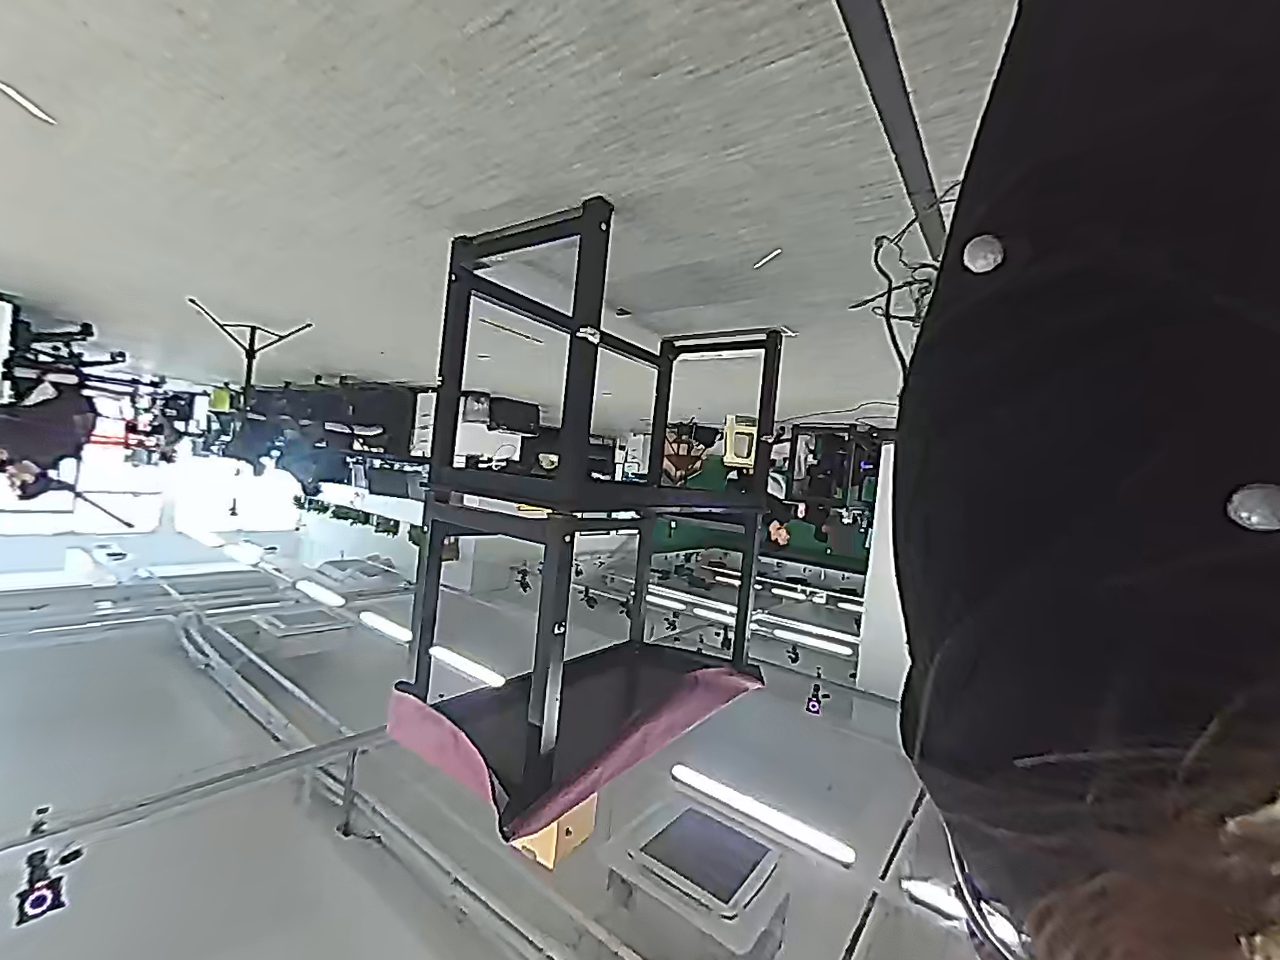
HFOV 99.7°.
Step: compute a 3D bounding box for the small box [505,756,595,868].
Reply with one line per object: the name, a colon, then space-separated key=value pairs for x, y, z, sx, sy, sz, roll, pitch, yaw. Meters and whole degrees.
small box: x=-0.238 y=0.876 z=1.449 sx=0.168 sy=0.176 sz=0.179 roll=7 pitch=-177 yaw=30
